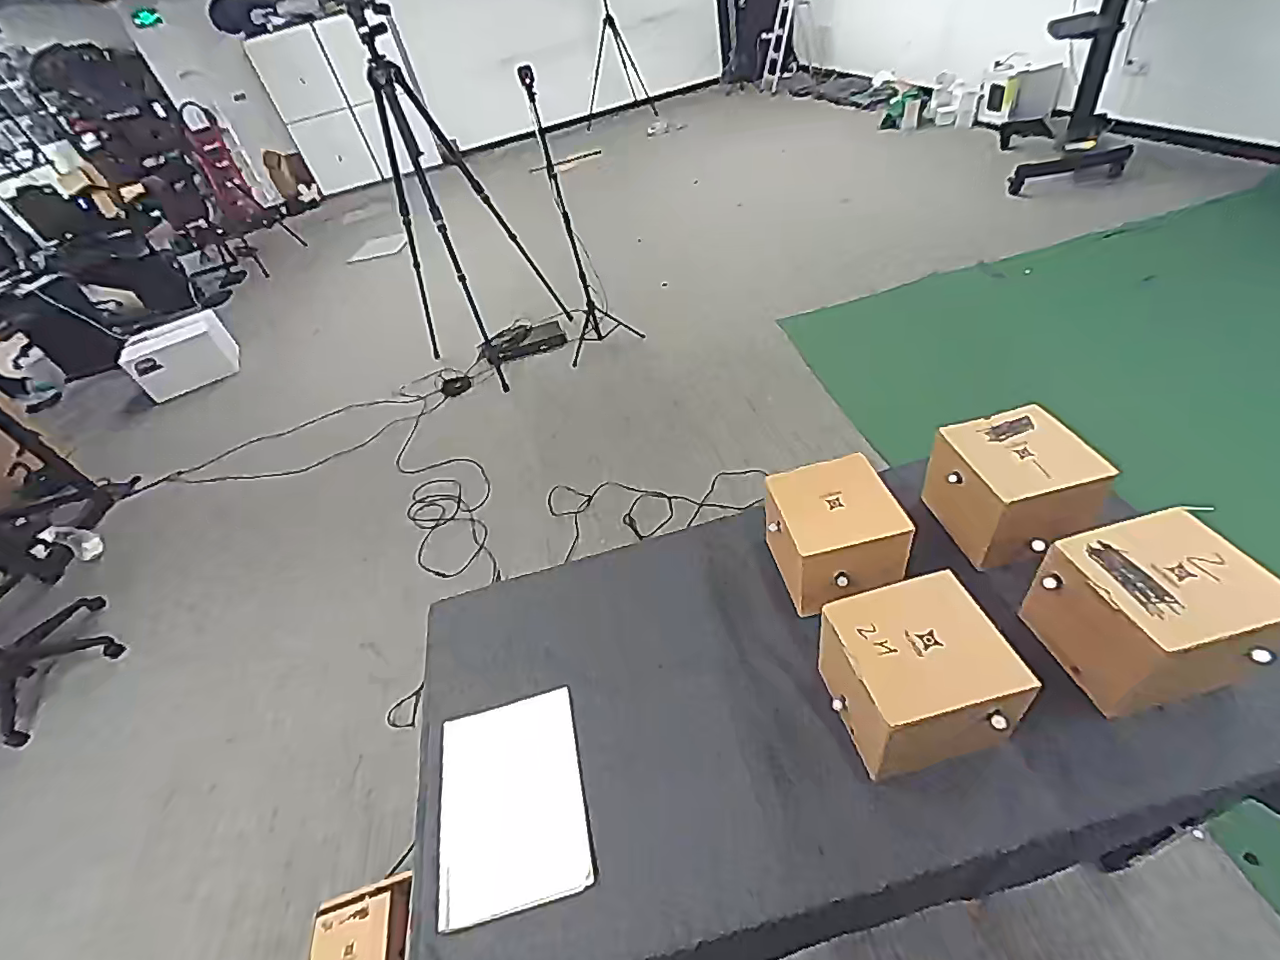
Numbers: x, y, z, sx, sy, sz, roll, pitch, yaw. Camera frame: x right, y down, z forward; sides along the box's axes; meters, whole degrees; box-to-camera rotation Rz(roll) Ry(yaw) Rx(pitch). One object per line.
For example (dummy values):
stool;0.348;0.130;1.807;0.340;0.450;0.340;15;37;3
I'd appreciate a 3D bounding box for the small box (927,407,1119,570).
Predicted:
small box;0.591;0.014;0.868;0.168;0.176;0.179;-15;43;2

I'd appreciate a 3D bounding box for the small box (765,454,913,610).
small box;0.312;0.091;0.875;0.168;0.176;0.179;-14;42;2

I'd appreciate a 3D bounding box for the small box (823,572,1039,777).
small box;0.349;0.249;0.691;0.179;0.176;0.168;-16;41;0
